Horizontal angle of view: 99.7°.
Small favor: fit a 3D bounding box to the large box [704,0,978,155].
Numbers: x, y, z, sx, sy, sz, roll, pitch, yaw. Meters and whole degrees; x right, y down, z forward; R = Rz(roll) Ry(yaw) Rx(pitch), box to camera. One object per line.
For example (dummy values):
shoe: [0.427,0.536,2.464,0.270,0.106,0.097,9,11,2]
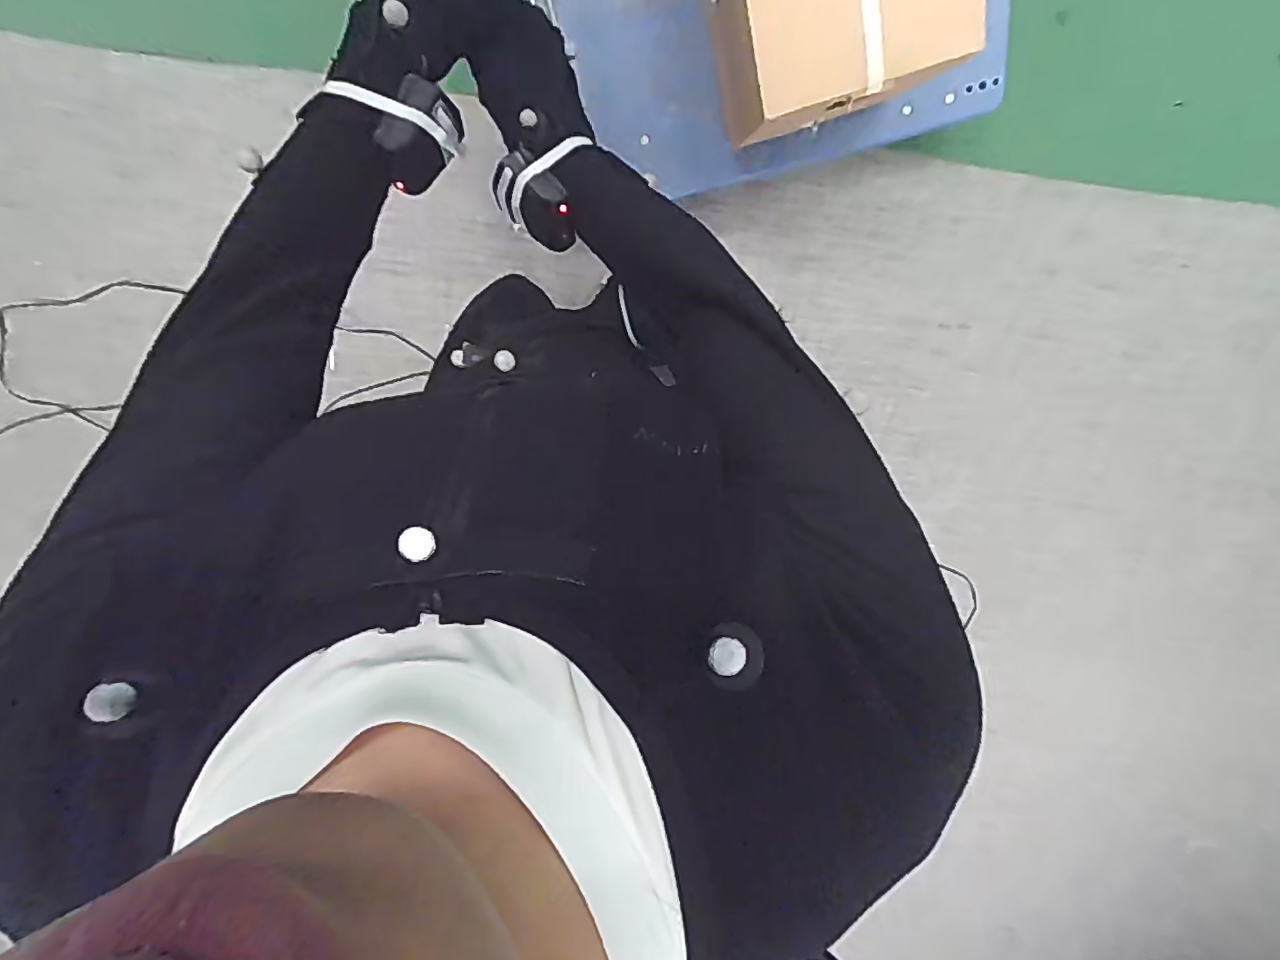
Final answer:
large box: [0.274,-0.791,0.837,0.320,0.320,0.408,-15,113,5]
